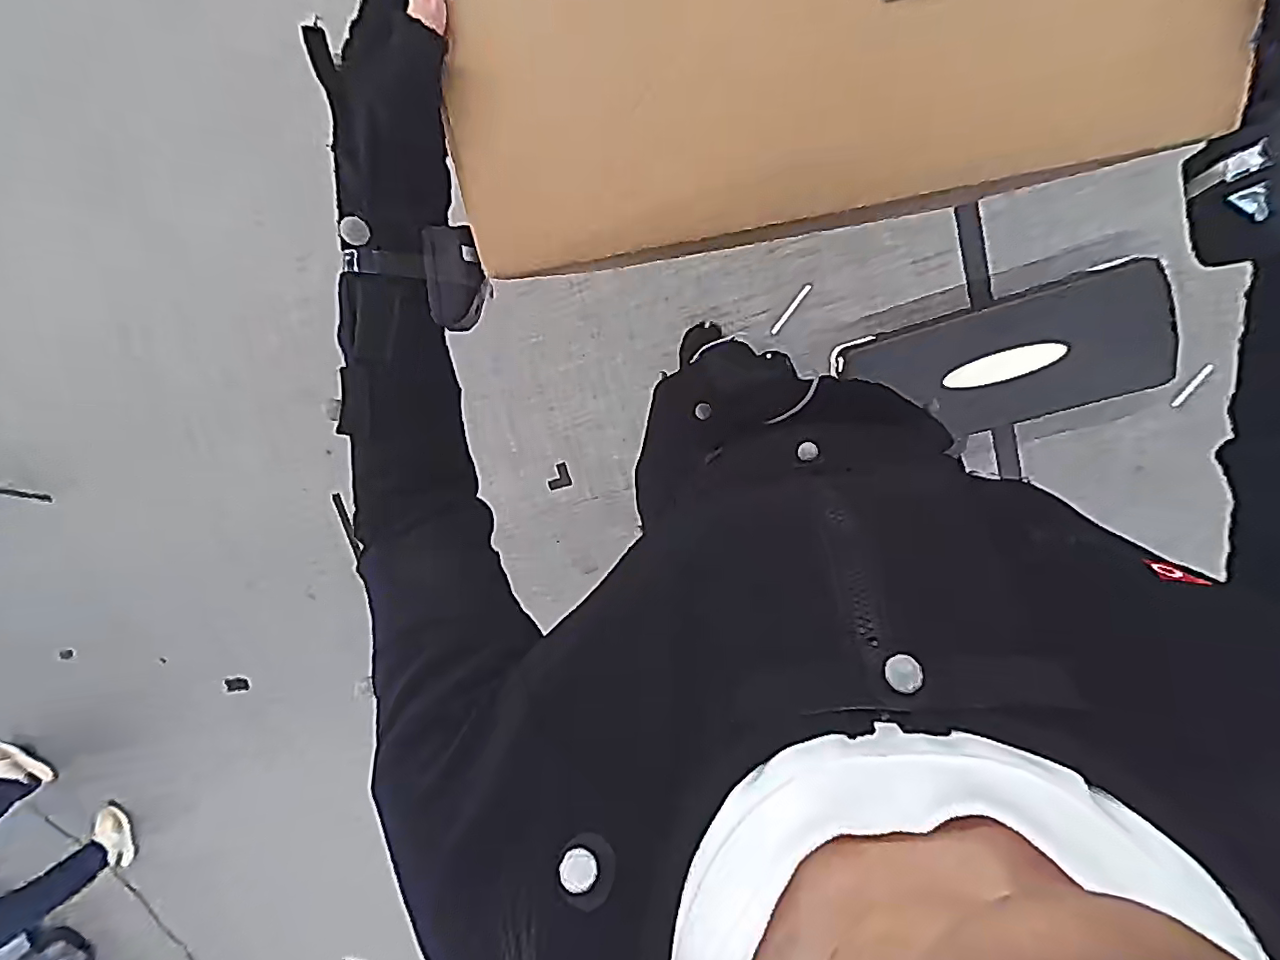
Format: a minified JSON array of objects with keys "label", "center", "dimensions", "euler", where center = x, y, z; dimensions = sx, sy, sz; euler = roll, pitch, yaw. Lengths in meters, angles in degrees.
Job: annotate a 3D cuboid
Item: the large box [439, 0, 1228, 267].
[{"label":"large box","center":[0.095,-0.360,0.405],"dimensions":[0.408,0.320,0.320],"euler":[-7,111,11]}]
